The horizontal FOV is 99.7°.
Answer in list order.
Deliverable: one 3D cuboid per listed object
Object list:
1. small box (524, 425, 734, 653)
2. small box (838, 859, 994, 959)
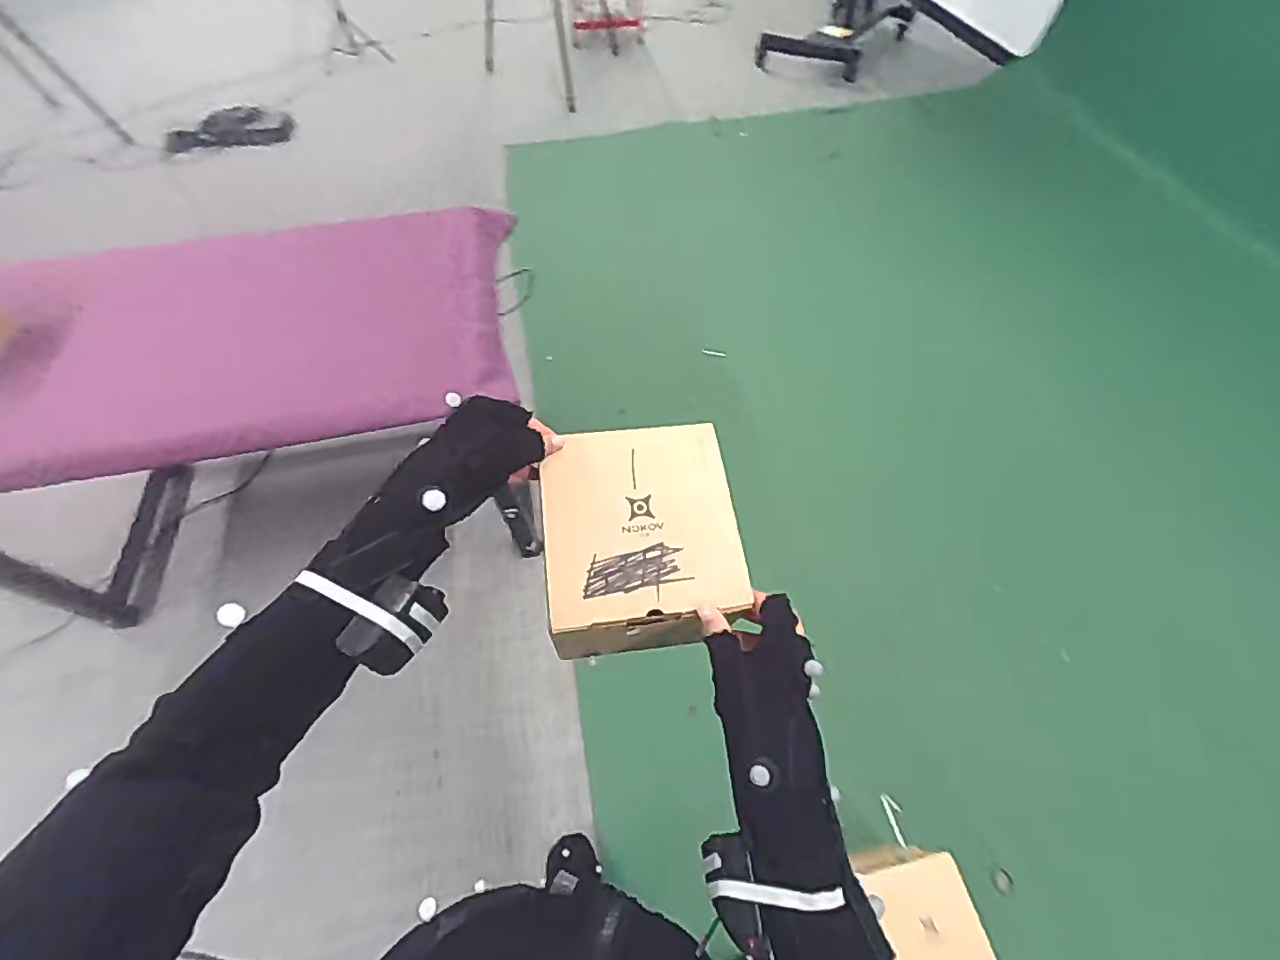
[{"bbox_3d":[-0.019,0.068,0.536,0.168,0.176,0.179,-6,64,-8],"label":"small box"},{"bbox_3d":[0.461,0.764,0.918,0.168,0.176,0.179,-11,58,-5],"label":"small box"}]
